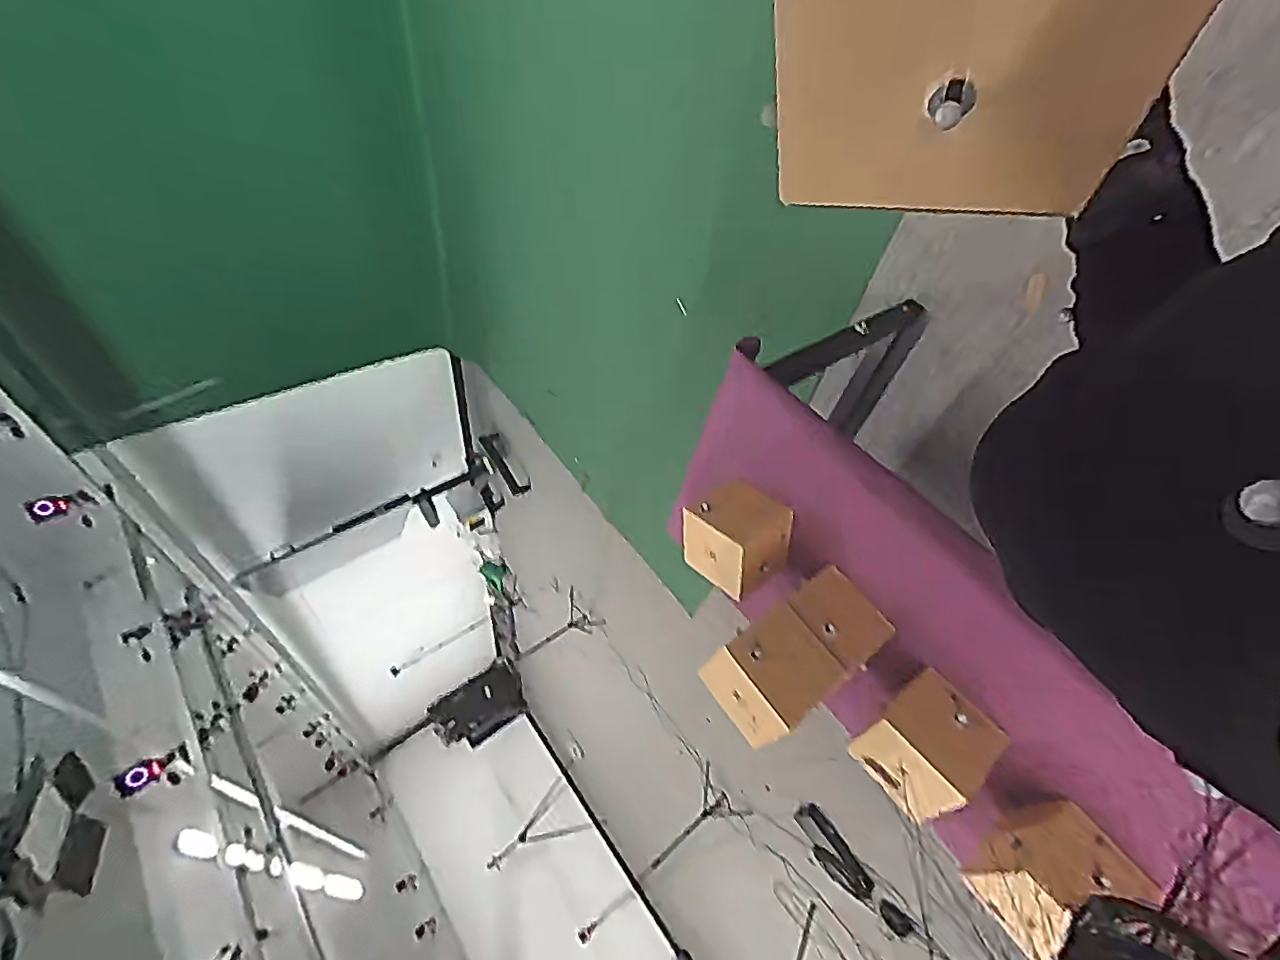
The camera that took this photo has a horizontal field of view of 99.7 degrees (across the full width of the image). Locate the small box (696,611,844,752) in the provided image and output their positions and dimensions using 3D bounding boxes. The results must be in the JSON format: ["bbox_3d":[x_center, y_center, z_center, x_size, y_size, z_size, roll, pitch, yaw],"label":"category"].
[{"bbox_3d":[0.241,0.371,1.020,0.179,0.176,0.168,50,148,21],"label":"small box"}]

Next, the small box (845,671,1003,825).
[{"bbox_3d":[0.526,0.495,1.006,0.168,0.176,0.179,45,145,27],"label":"small box"}]

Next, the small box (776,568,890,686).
[{"bbox_3d":[0.369,0.314,1.107,0.179,0.176,0.168,50,147,21],"label":"small box"}]

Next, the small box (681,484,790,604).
[{"bbox_3d":[0.211,0.133,1.205,0.179,0.176,0.168,33,139,41],"label":"small box"}]

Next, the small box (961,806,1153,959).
[{"bbox_3d":[0.691,0.676,0.896,0.168,0.176,0.179,49,147,23],"label":"small box"}]
